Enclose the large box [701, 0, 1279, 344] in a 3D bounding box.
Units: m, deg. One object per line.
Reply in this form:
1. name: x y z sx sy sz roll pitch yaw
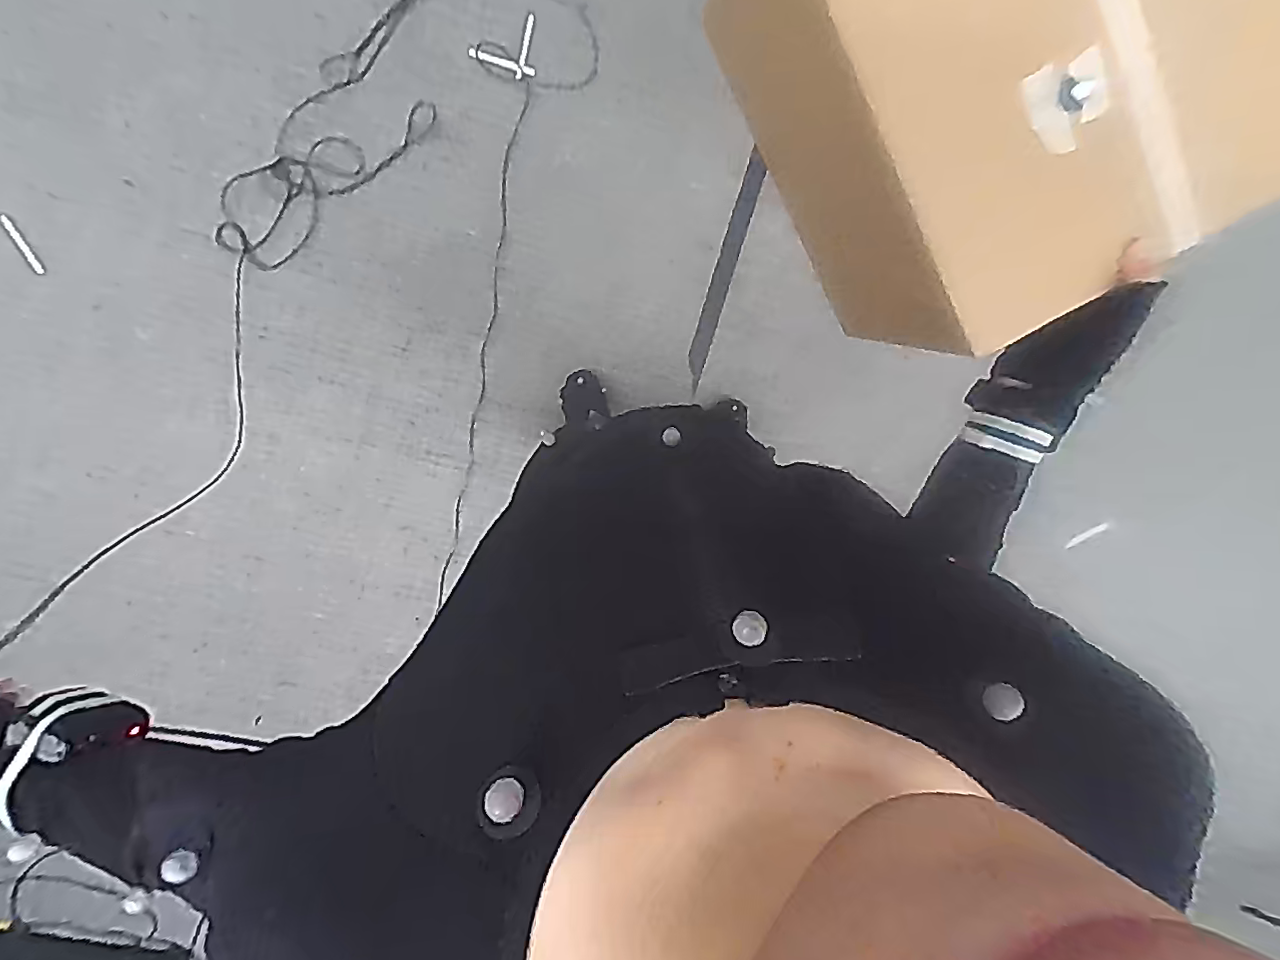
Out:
1. large box: 0.294 -0.388 0.499 0.320 0.320 0.408 -30 105 12
